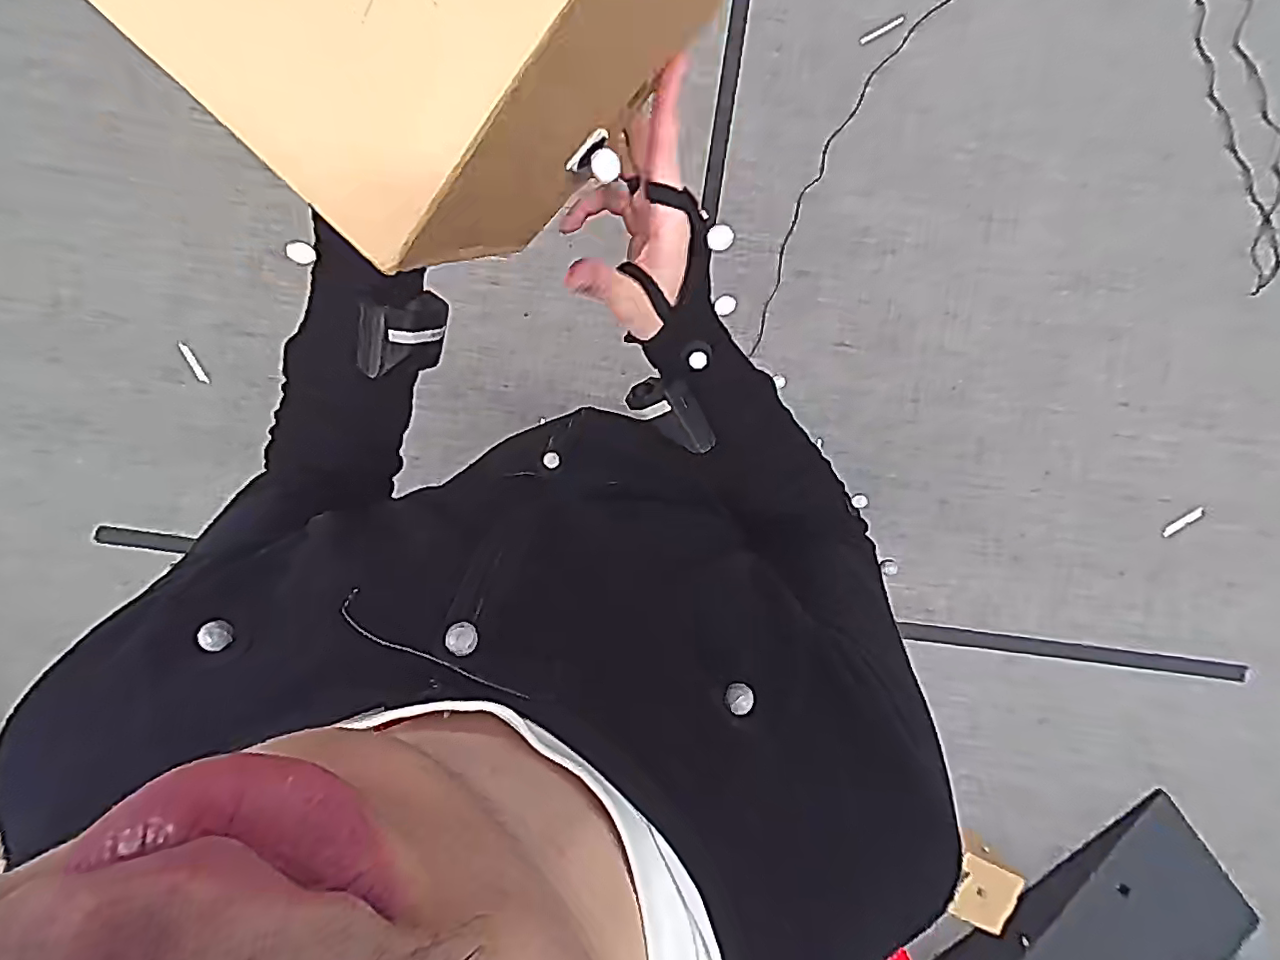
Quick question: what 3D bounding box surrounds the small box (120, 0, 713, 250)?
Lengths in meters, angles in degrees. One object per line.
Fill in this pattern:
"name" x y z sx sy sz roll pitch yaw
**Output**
"small box" -0.084 -0.222 0.224 0.179 0.176 0.168 41 115 -12
